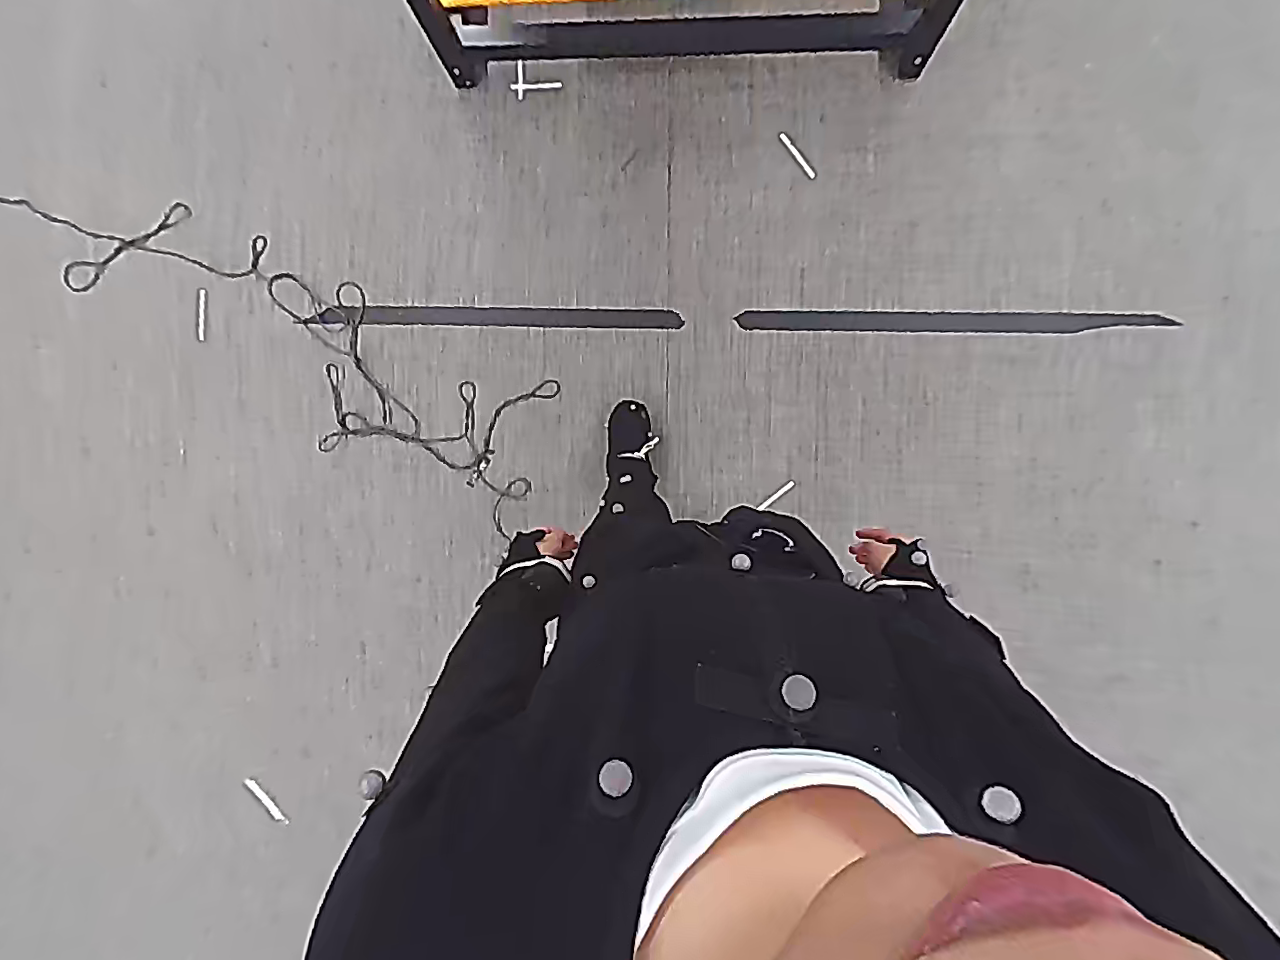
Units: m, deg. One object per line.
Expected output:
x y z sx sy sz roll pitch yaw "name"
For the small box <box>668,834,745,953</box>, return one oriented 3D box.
0.158 0.995 1.317 0.179 0.176 0.168 0 90 3 "small box"
